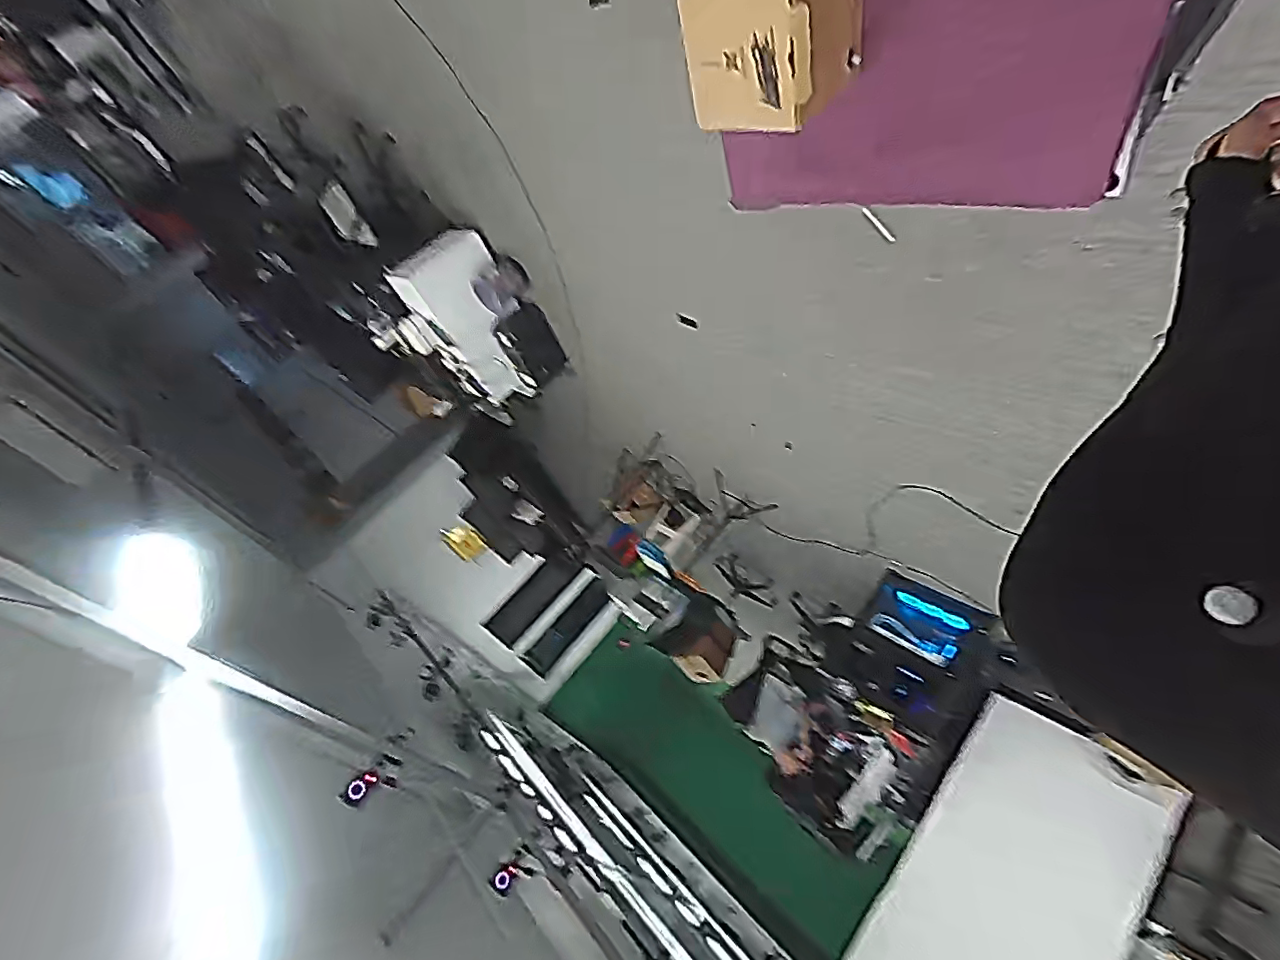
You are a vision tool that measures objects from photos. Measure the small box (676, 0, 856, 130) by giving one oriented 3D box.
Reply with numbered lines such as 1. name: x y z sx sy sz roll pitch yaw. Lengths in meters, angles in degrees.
1. small box: 0.181 -0.608 0.738 0.179 0.176 0.168 29 156 36
